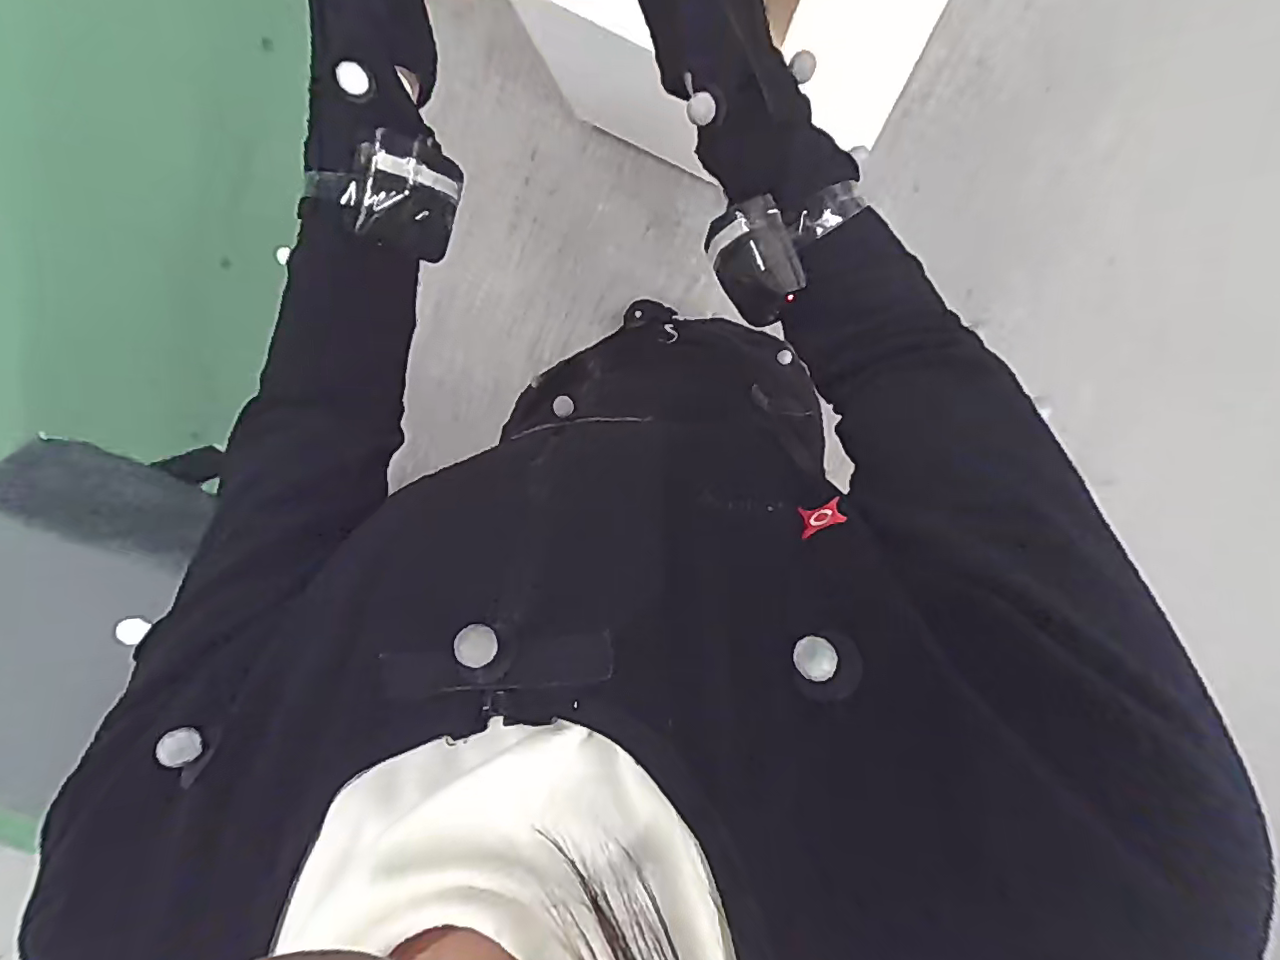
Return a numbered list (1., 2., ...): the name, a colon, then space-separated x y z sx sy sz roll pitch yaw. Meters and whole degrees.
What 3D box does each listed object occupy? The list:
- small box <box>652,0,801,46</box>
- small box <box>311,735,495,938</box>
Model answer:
1. small box: 0.108 -0.582 0.540 0.179 0.176 0.168 21 108 -1
2. small box: -0.344 0.525 0.815 0.179 0.176 0.168 27 109 -4
